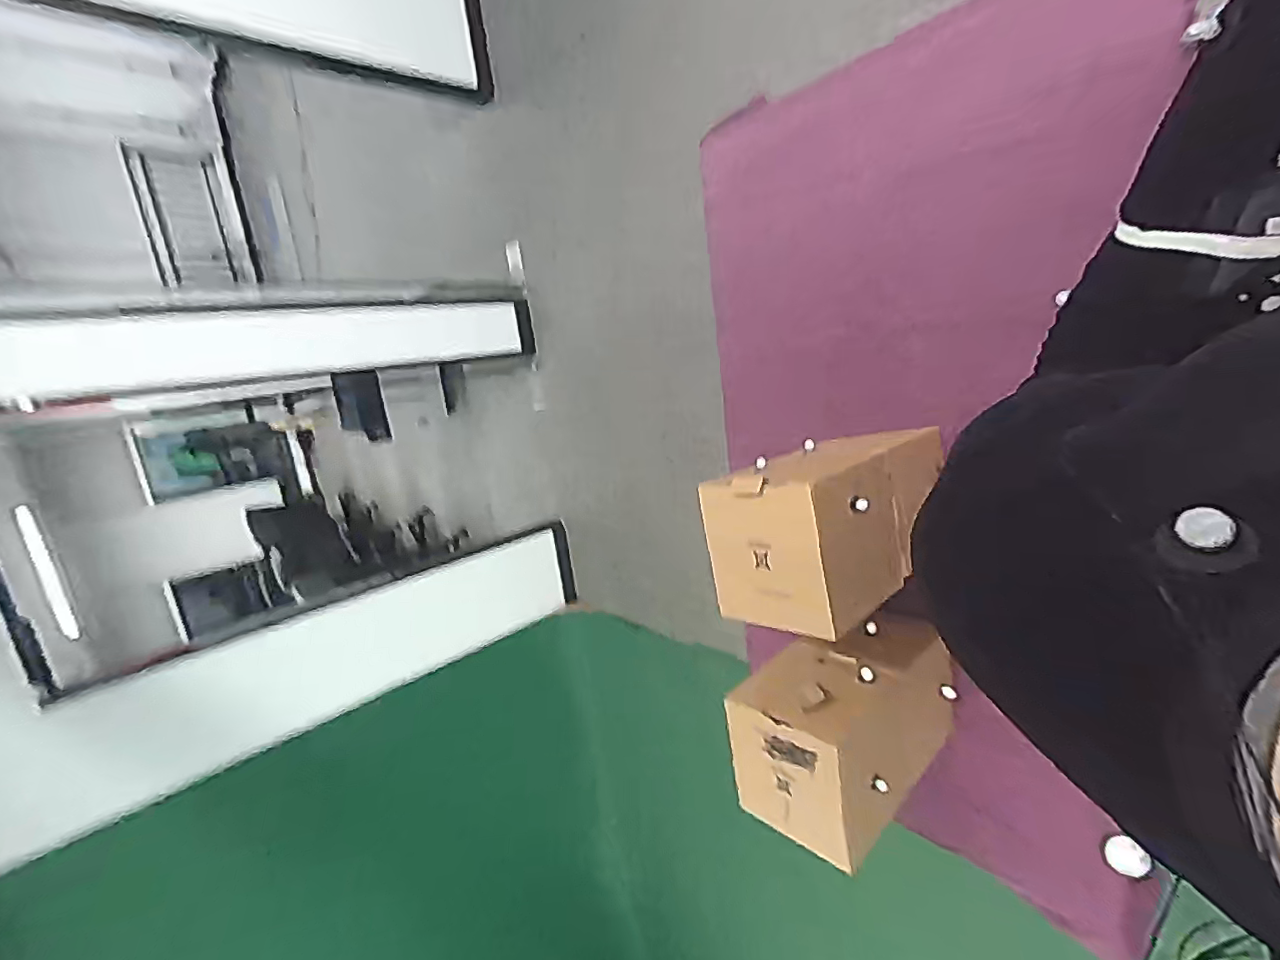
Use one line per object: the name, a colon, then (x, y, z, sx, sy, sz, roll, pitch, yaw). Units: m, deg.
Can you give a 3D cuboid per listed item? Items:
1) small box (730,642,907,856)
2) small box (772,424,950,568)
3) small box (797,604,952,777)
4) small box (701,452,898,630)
small box: (0.249, 0.350, 0.747, 0.168, 0.176, 0.179, 3, 107, 49)
small box: (0.324, 0.020, 0.796, 0.179, 0.176, 0.168, -6, 100, 49)
small box: (0.371, 0.311, 0.850, 0.168, 0.176, 0.179, 3, 106, 49)
small box: (0.206, 0.063, 0.691, 0.168, 0.176, 0.179, -2, 103, 51)
